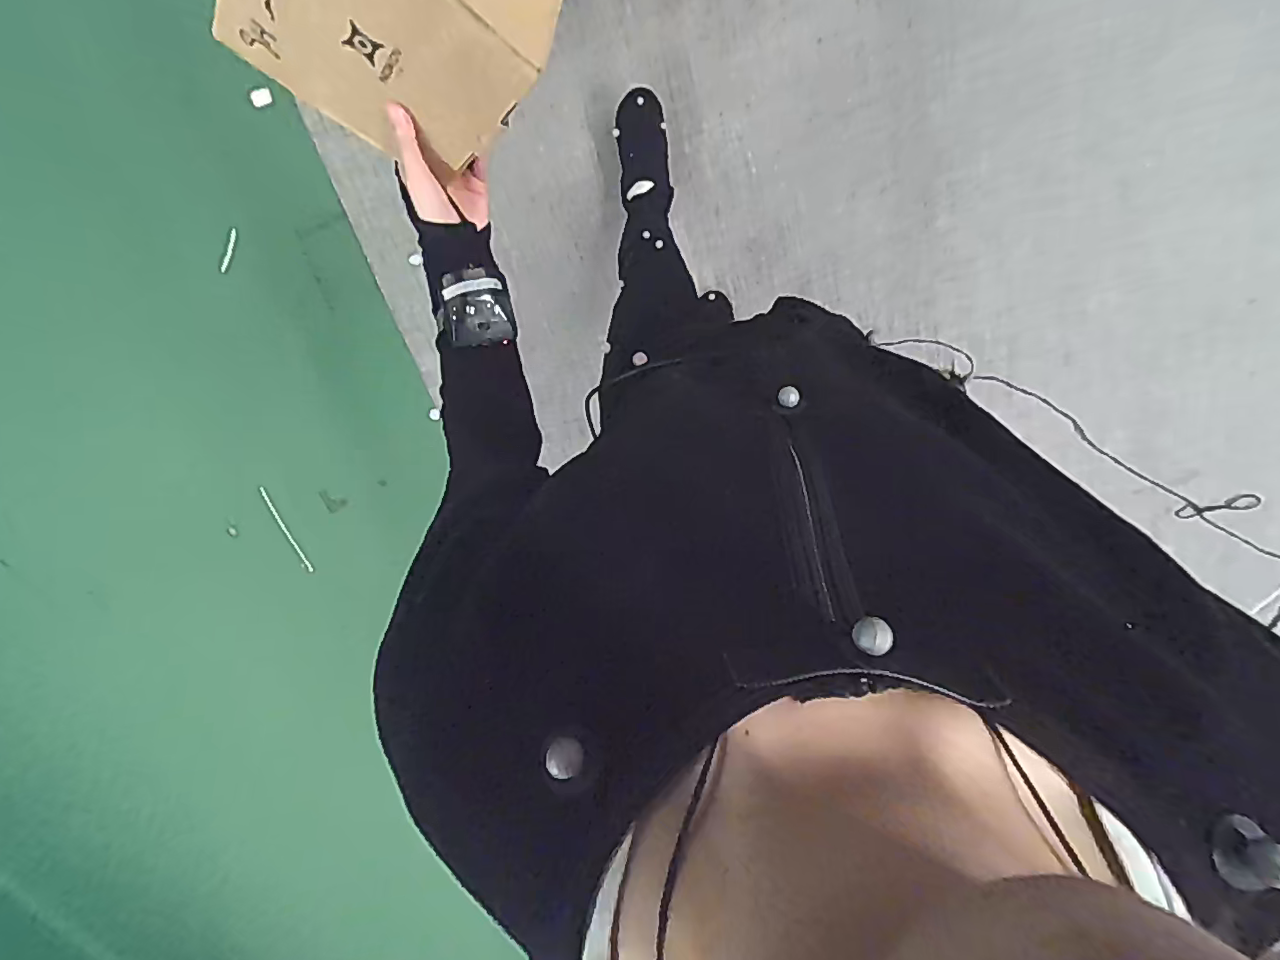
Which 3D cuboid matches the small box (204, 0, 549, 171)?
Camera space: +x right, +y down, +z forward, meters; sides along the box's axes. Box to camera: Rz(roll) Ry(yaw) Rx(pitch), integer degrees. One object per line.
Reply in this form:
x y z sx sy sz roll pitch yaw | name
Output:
-0.167 -0.379 0.385 0.179 0.176 0.168 23 158 -40 | small box
